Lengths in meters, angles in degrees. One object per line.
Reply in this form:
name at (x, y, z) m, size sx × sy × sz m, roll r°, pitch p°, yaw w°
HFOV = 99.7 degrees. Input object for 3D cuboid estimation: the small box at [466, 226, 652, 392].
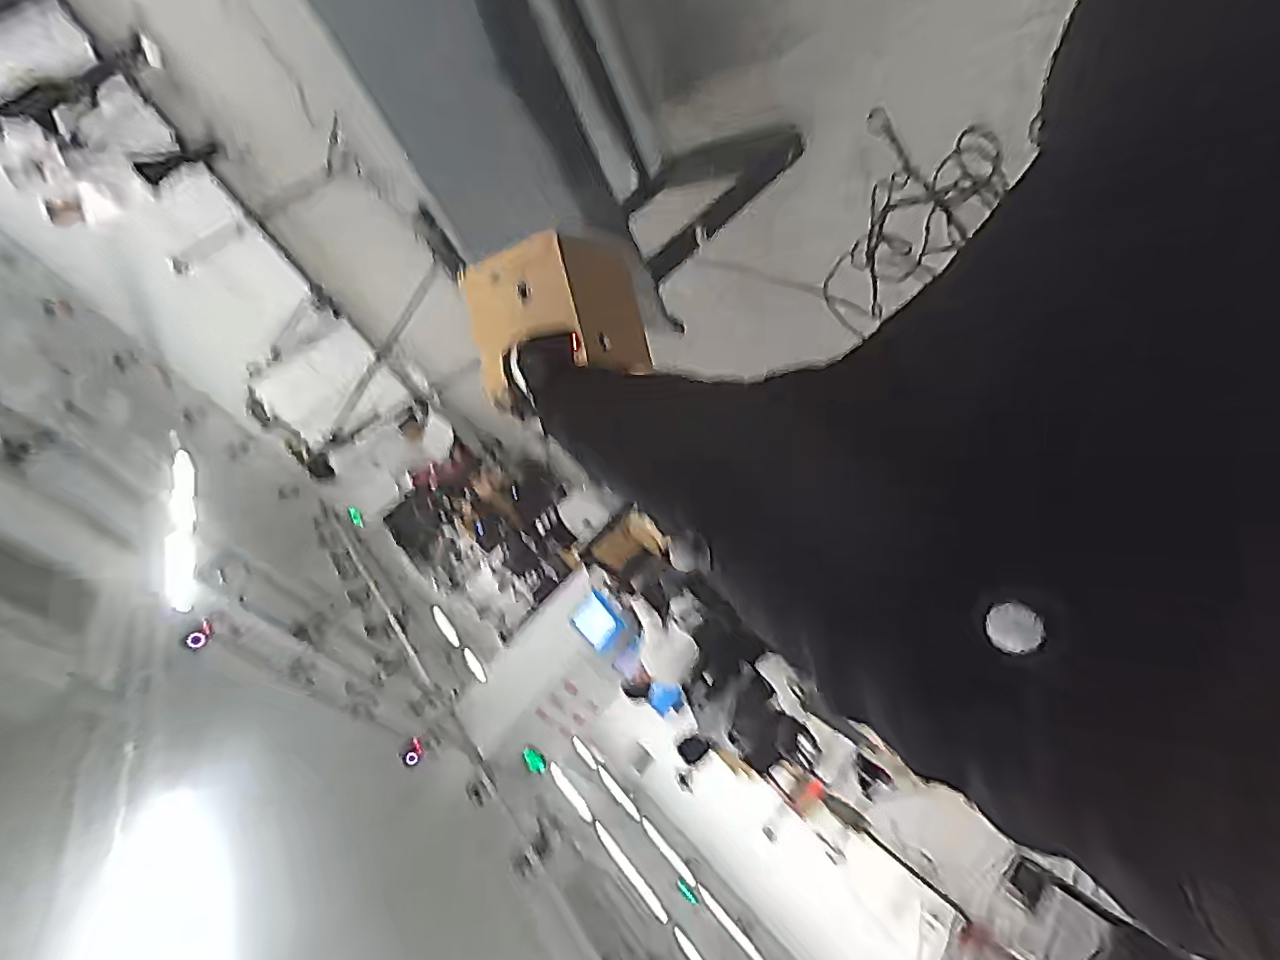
small box at (-0.104, -0.223, 0.733) m, size 0.168 × 0.179 × 0.176 m, roll -10°, pitch 96°, yaw 28°
